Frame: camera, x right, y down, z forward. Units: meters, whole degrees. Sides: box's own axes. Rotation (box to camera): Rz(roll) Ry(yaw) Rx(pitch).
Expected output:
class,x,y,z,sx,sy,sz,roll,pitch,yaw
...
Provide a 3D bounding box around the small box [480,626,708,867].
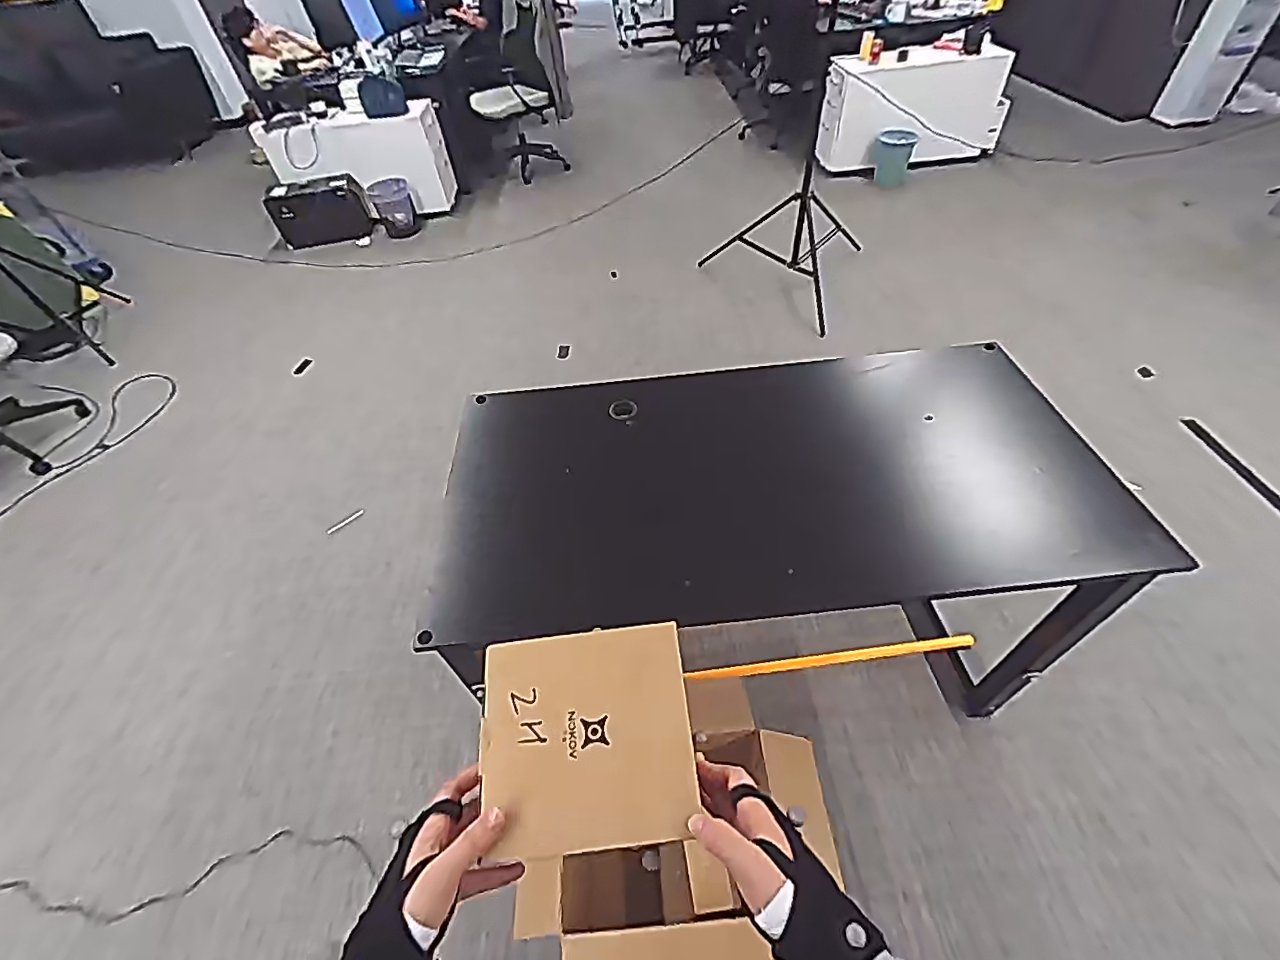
class,x,y,z,sx,sy,sz,roll,pitch,yaw
small box,-0.038,0.252,0.515,0.179,0.176,0.168,-8,57,0
